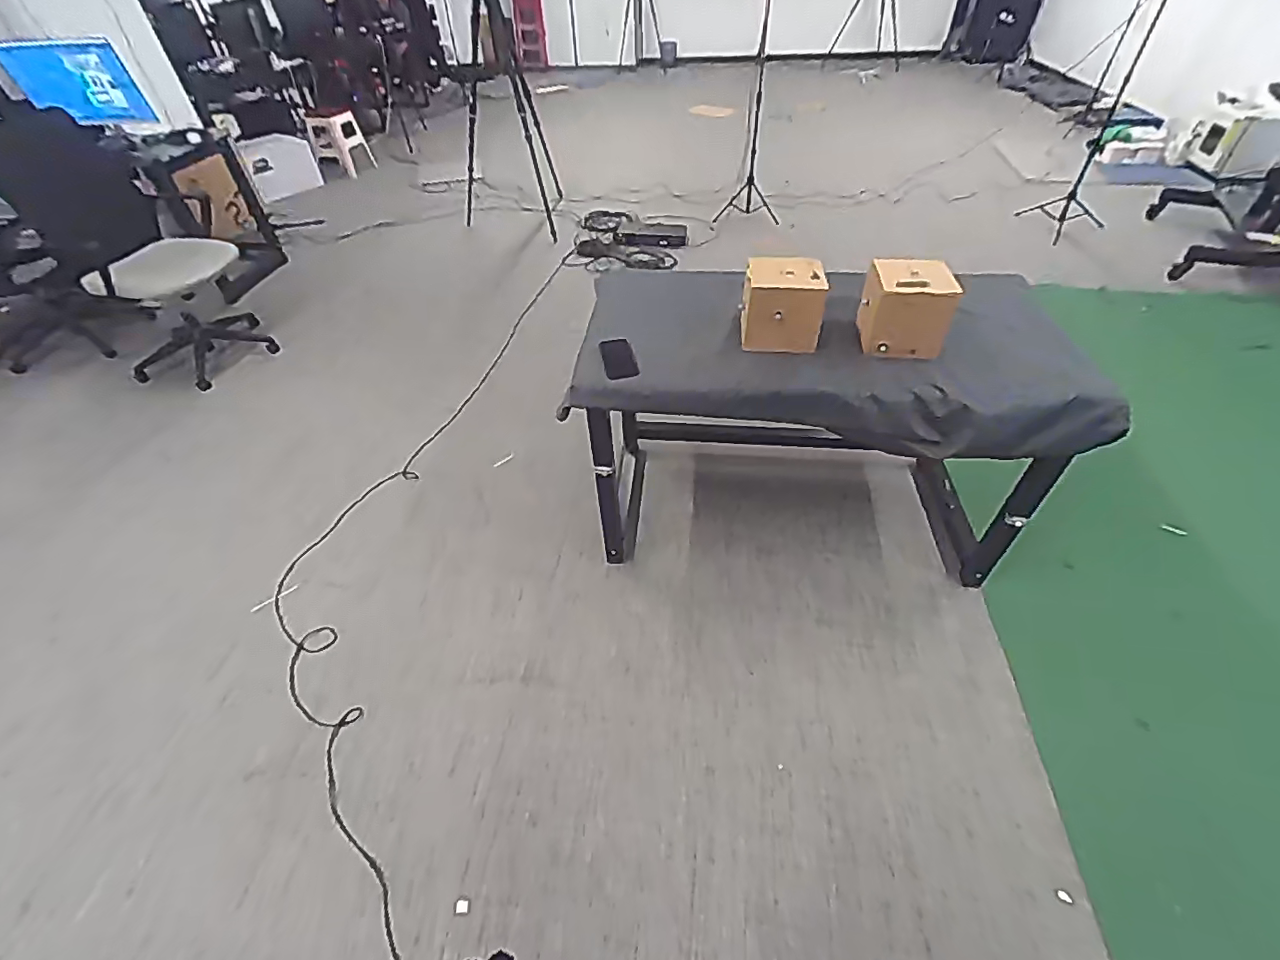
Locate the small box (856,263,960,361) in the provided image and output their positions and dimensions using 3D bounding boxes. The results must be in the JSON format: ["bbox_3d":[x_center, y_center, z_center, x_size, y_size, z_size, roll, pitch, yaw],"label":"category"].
[{"bbox_3d":[0.633,-0.403,1.301,0.168,0.176,0.179,5,45,7],"label":"small box"}]

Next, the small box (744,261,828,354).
[{"bbox_3d":[0.350,-0.424,1.333,0.179,0.176,0.168,3,46,6],"label":"small box"}]
